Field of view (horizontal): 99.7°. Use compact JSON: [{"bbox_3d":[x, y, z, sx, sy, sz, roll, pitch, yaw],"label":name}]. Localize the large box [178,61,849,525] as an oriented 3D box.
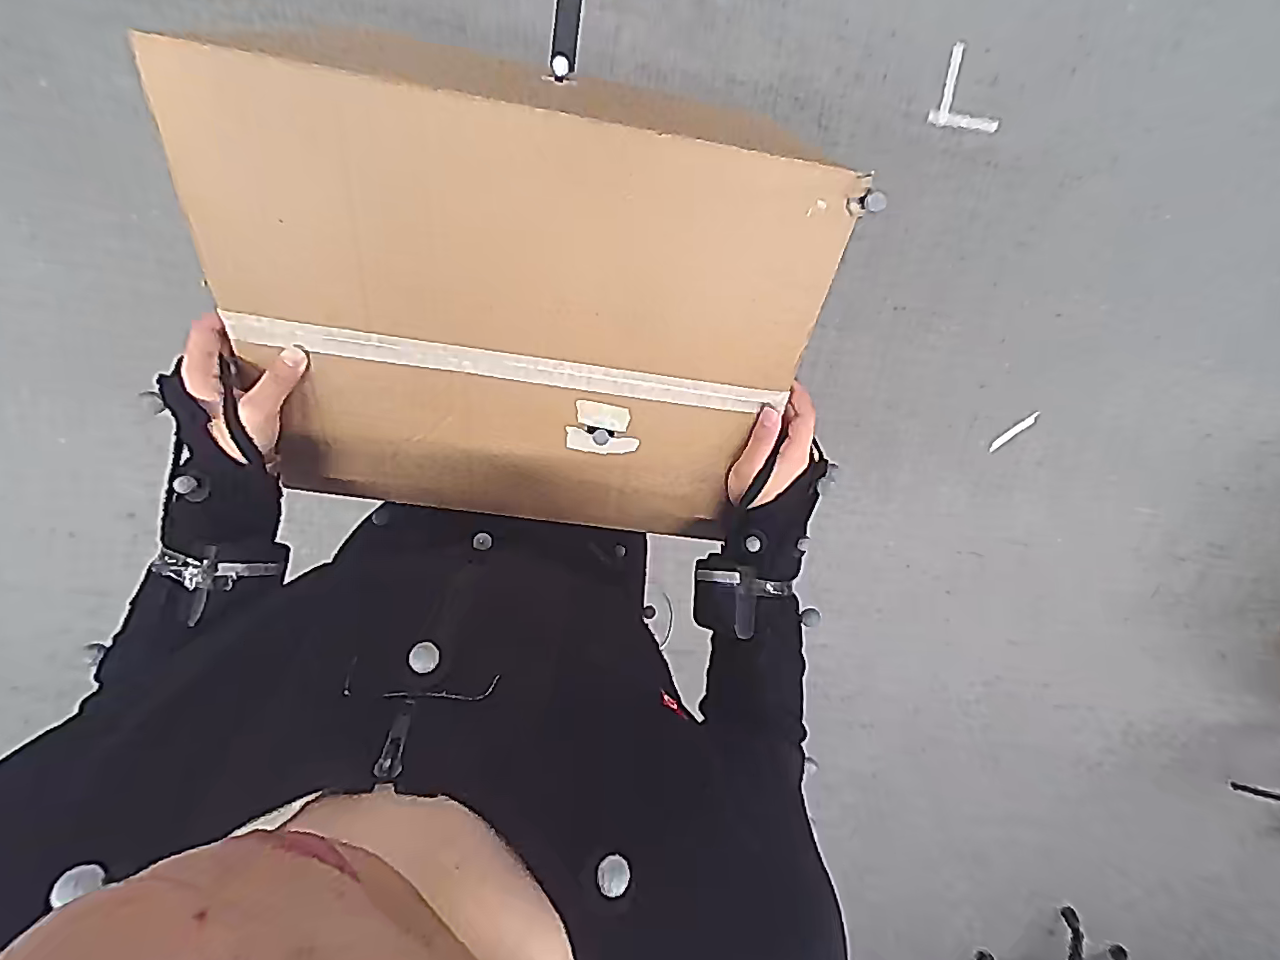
[{"bbox_3d":[-0.089,-0.185,0.526,0.408,0.320,0.320,6,130,-6],"label":"large box"}]
